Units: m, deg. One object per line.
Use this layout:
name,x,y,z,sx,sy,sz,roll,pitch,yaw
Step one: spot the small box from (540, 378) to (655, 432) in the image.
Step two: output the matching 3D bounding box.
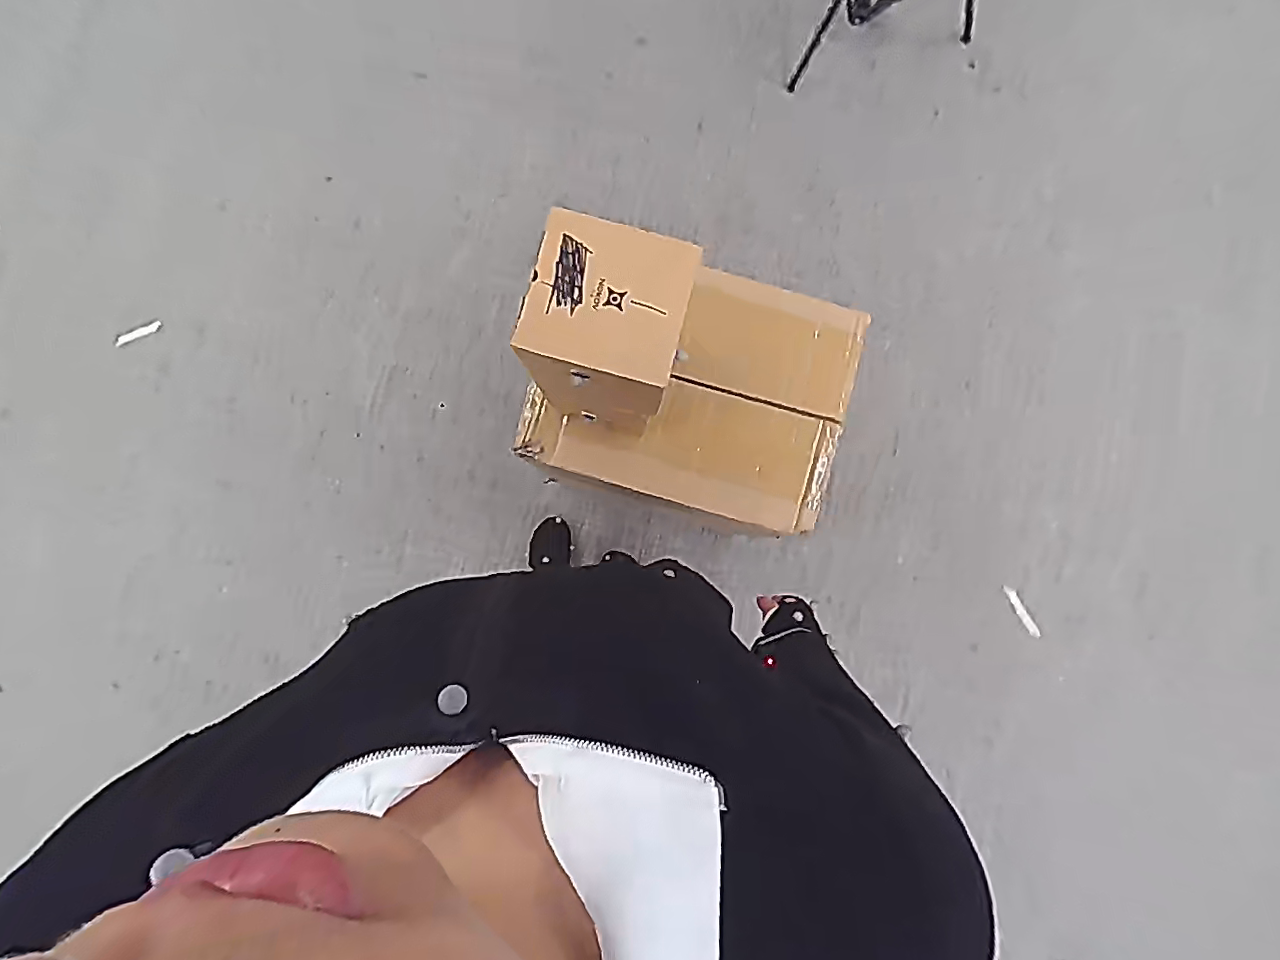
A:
small box,-0.041,-0.187,0.833,0.168,0.176,0.179,16,87,0

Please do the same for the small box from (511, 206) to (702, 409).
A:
small box,-0.037,-0.197,0.669,0.179,0.176,0.168,15,86,0
